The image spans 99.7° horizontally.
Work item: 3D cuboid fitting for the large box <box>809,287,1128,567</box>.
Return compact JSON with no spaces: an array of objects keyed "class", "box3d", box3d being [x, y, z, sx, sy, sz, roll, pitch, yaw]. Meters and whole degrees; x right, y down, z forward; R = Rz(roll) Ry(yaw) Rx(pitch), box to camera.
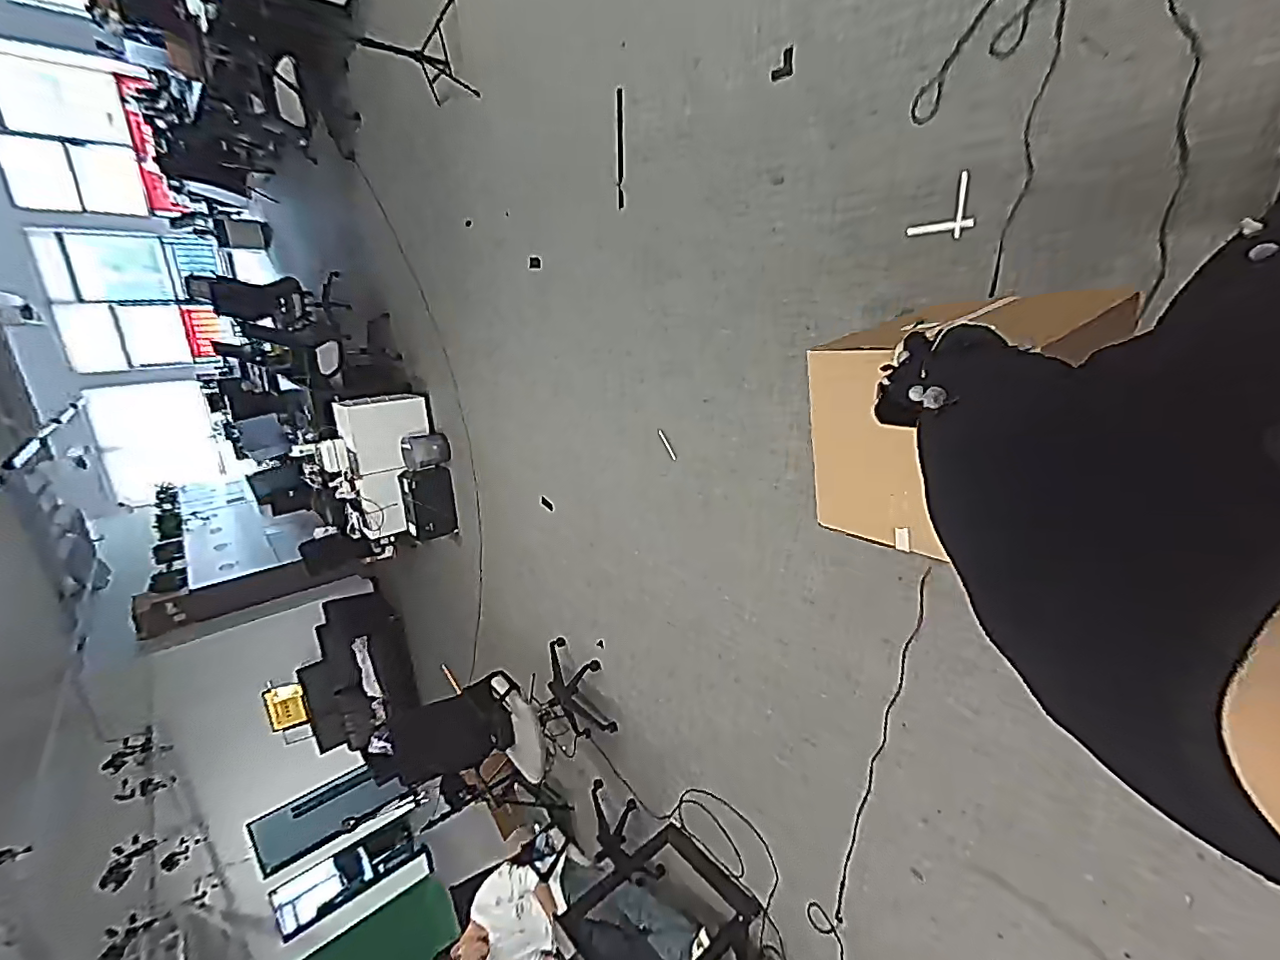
[{"class":"large box","box3d":[0.531,-0.115,0.889,0.320,0.408,0.320,16,124,50]}]
